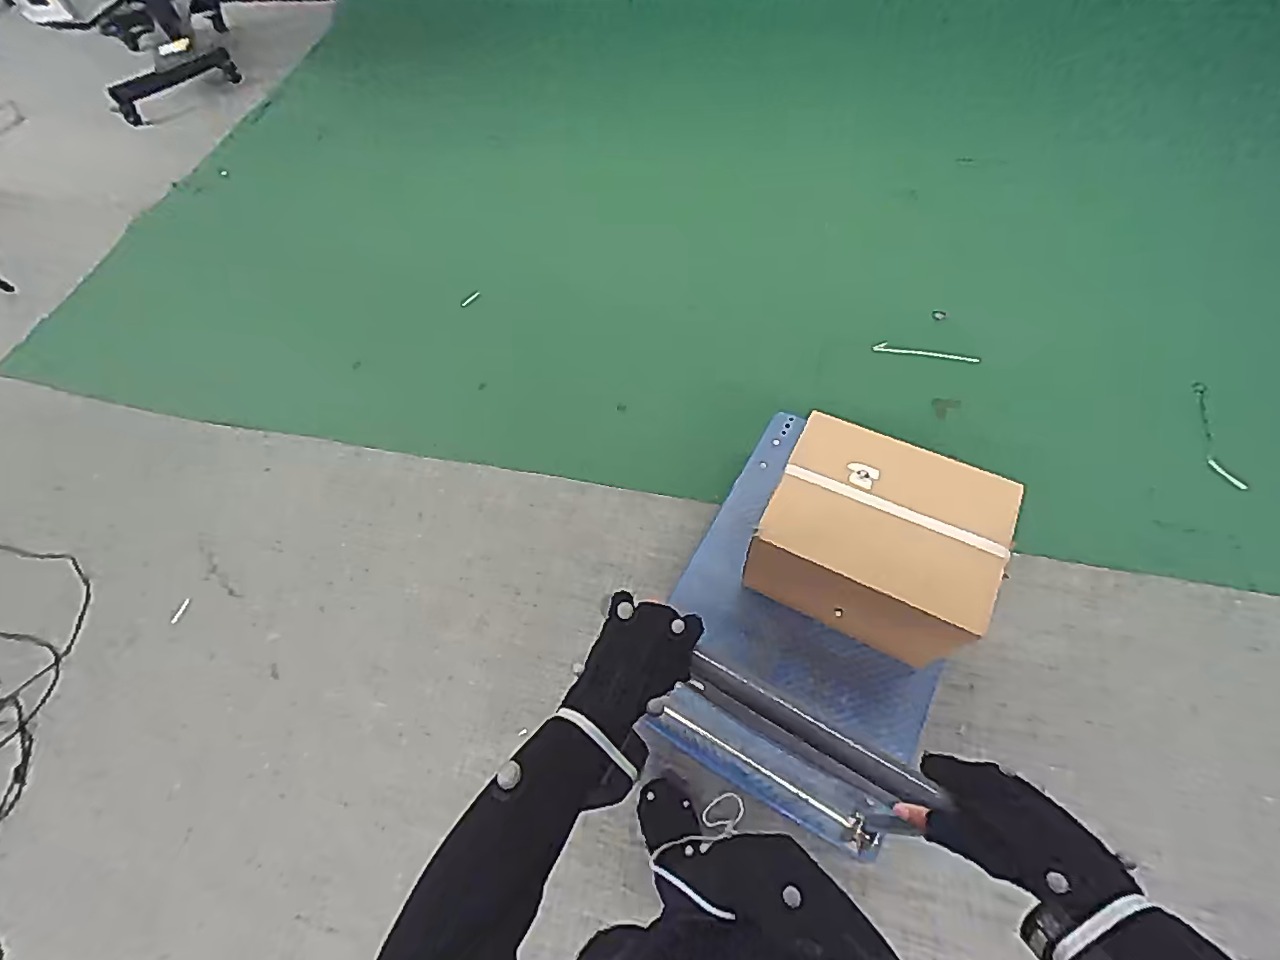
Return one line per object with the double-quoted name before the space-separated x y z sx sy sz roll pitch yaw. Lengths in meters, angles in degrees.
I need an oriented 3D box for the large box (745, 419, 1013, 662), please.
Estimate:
"large box" 0.470 0.134 1.136 0.408 0.320 0.320 23 66 18
